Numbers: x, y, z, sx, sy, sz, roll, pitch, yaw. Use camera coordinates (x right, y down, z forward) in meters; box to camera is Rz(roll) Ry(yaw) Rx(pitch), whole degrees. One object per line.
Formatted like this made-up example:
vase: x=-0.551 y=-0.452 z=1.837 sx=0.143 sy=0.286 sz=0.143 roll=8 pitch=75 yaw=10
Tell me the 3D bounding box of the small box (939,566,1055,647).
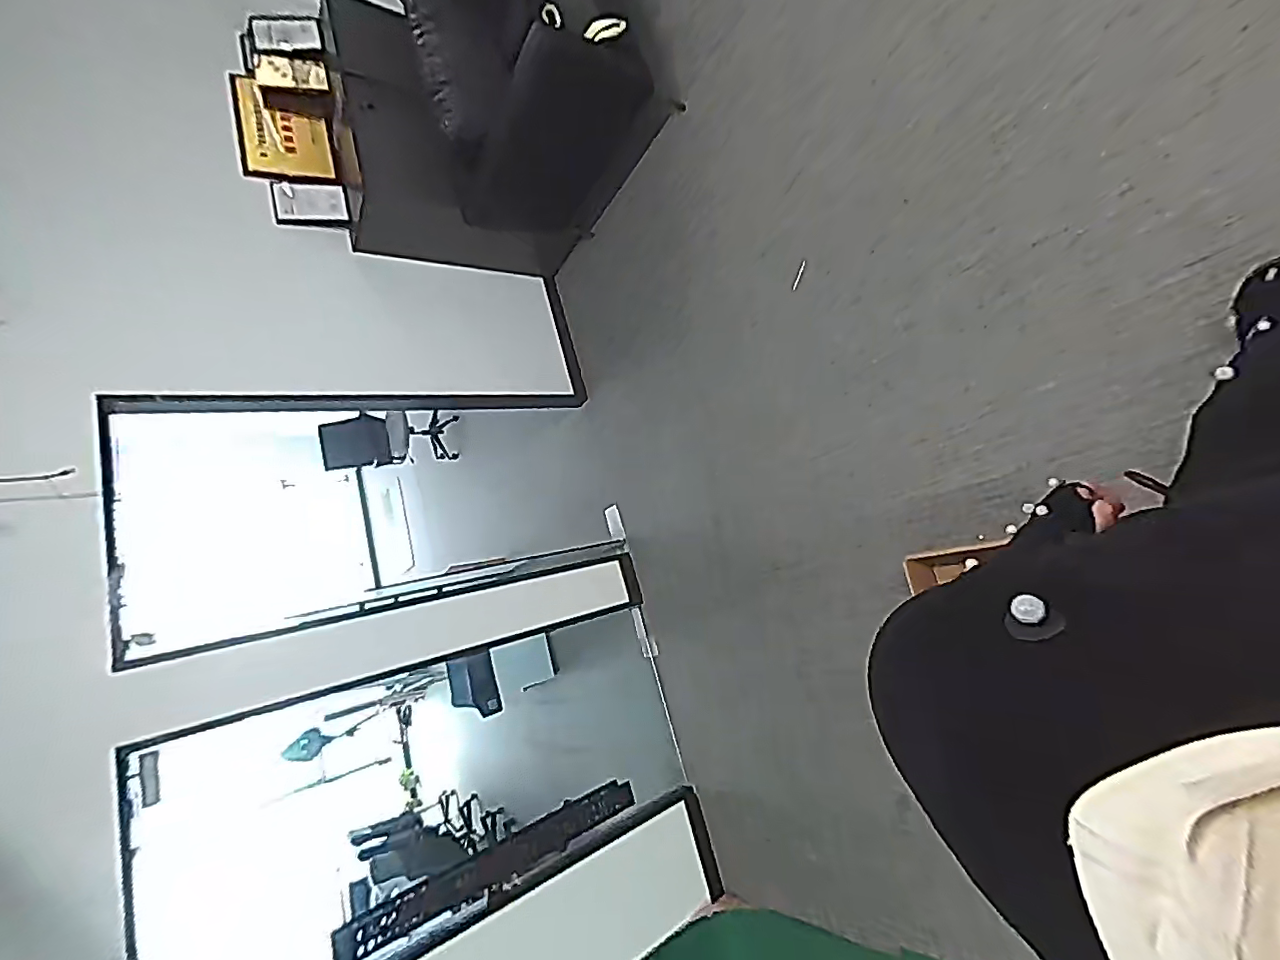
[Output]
small box: x=0.911 y=0.324 z=1.381 sx=0.179 sy=0.176 sz=0.168 roll=-25 pitch=76 yaw=52
